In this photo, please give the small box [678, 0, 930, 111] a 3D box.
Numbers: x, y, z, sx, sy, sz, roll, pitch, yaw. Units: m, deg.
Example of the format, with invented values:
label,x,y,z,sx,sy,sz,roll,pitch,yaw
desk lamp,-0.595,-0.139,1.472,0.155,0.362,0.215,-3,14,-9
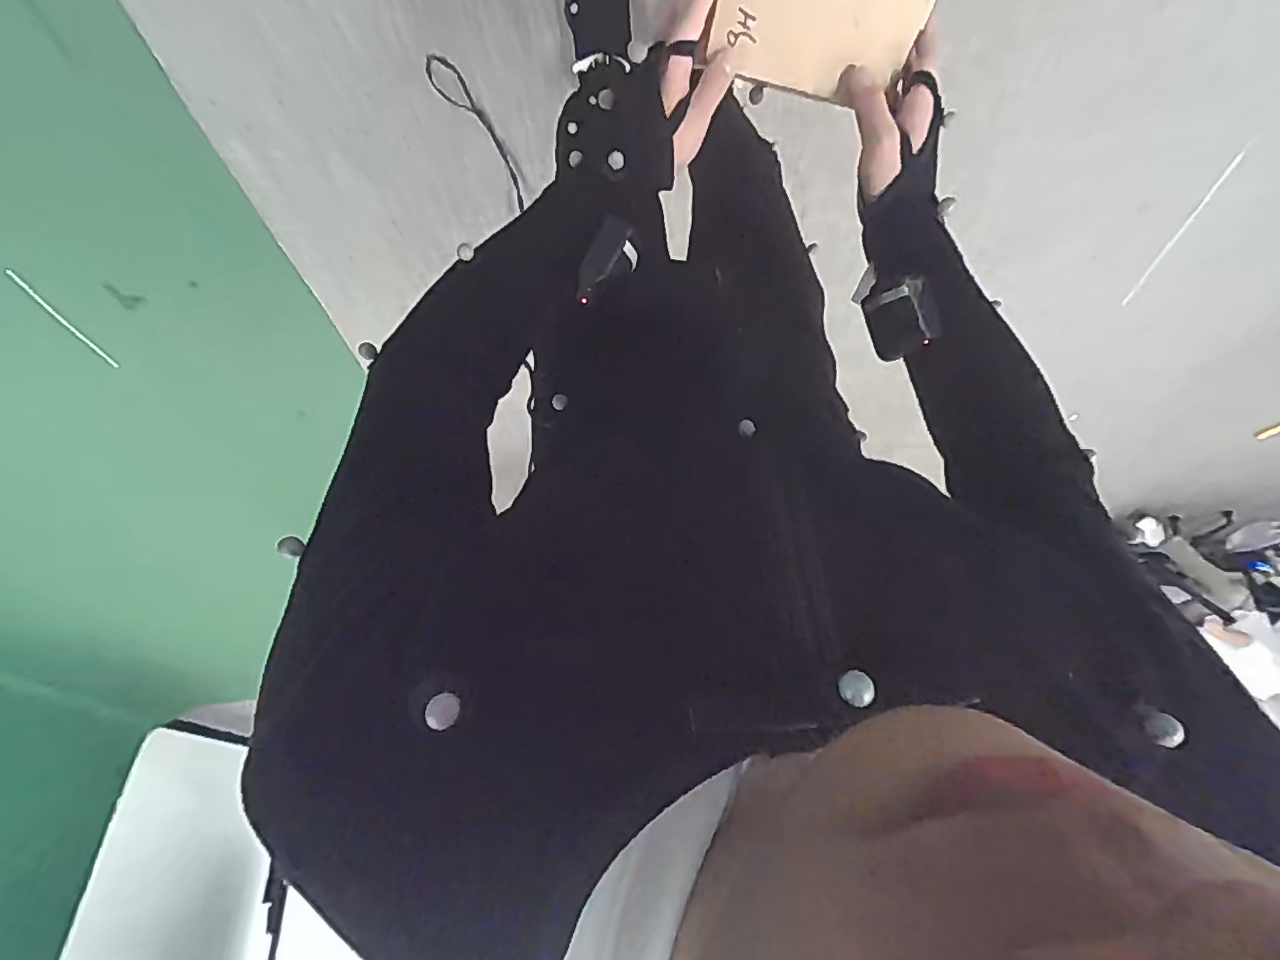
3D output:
label,x,y,z,sx,sy,sz,roll,pitch,yaw
small box,0.146,-0.452,0.482,0.179,0.176,0.168,6,127,-11
